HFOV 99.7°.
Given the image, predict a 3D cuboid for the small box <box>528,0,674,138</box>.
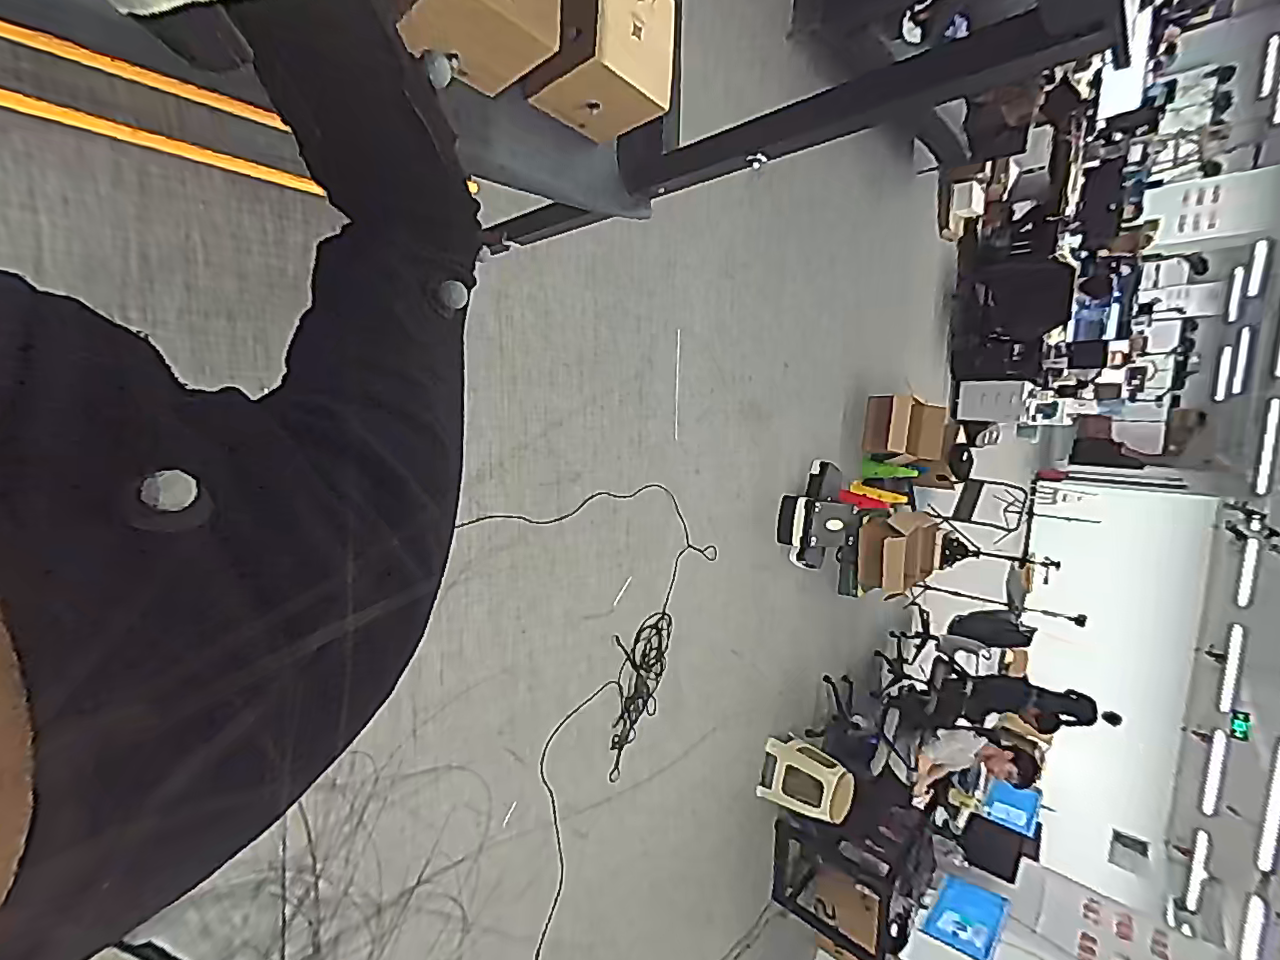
[{"bbox_3d":[-0.066,-0.693,0.870,0.168,0.176,0.179,-1,96,-47],"label":"small box"}]
